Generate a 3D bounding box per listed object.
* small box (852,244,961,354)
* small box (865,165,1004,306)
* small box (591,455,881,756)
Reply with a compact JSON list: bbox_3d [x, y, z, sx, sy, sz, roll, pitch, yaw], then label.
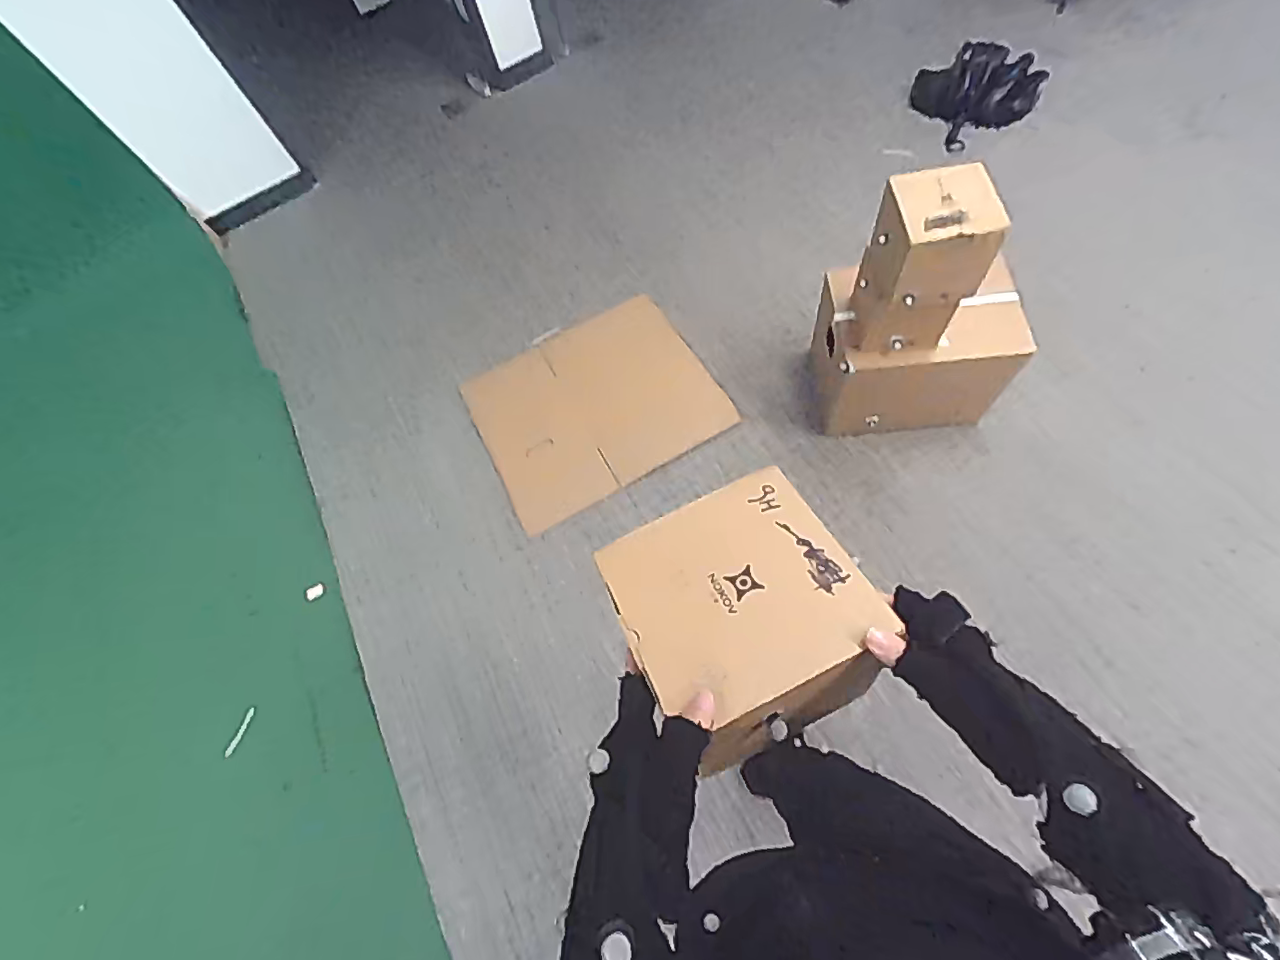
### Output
[{"bbox_3d":[0.575,-0.403,1.193,0.168,0.176,0.179,-2,67,10],"label":"small box"},{"bbox_3d":[0.552,-0.457,1.039,0.168,0.176,0.179,-9,66,7],"label":"small box"},{"bbox_3d":[0.083,0.116,0.485,0.179,0.176,0.168,-28,51,-7],"label":"small box"}]
